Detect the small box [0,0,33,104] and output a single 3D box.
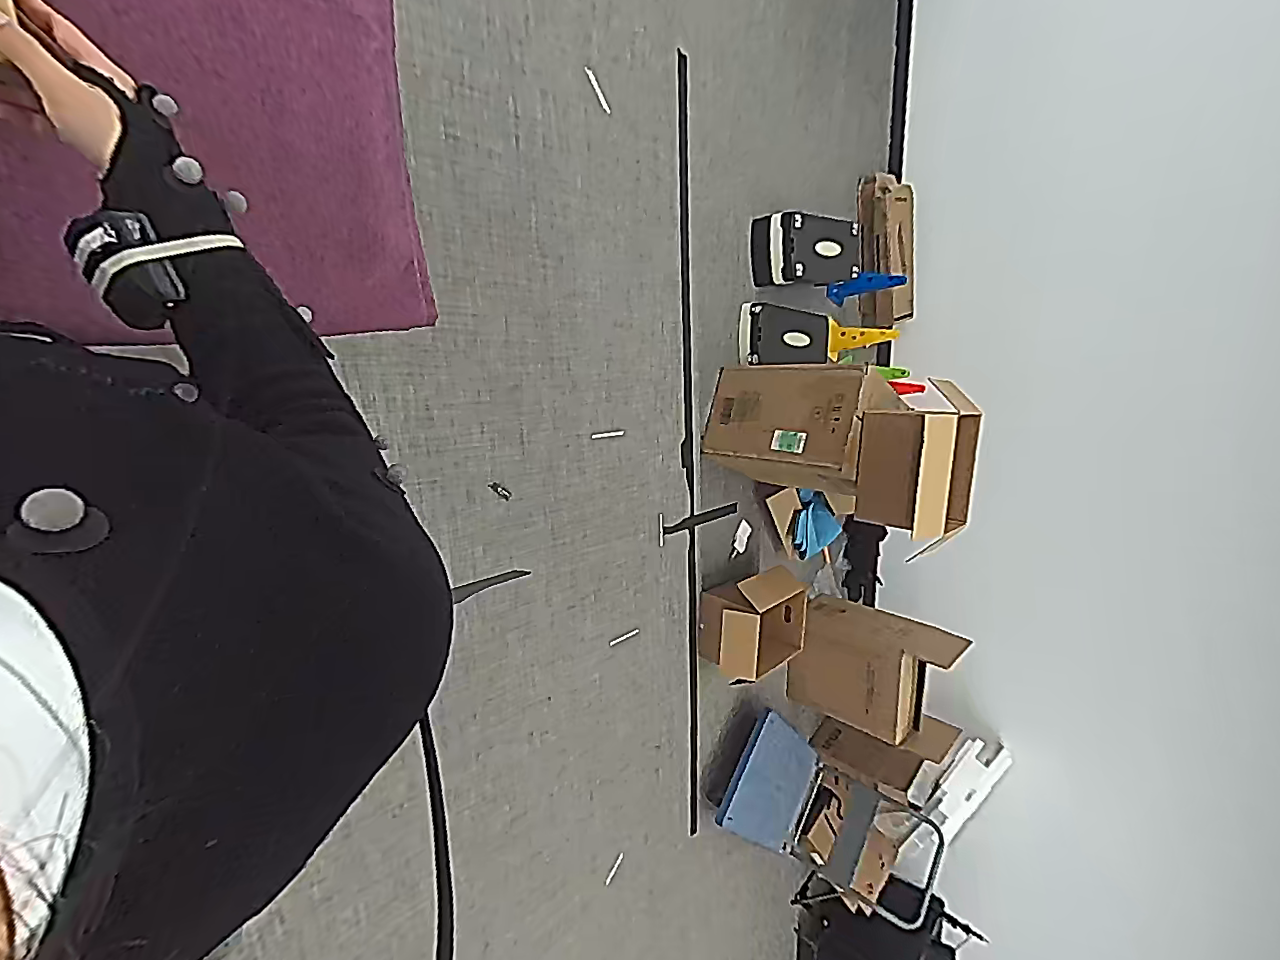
[{"bbox_3d":[-0.486,-0.334,0.300,0.179,0.176,0.168,-14,116,-42],"label":"small box"}]
